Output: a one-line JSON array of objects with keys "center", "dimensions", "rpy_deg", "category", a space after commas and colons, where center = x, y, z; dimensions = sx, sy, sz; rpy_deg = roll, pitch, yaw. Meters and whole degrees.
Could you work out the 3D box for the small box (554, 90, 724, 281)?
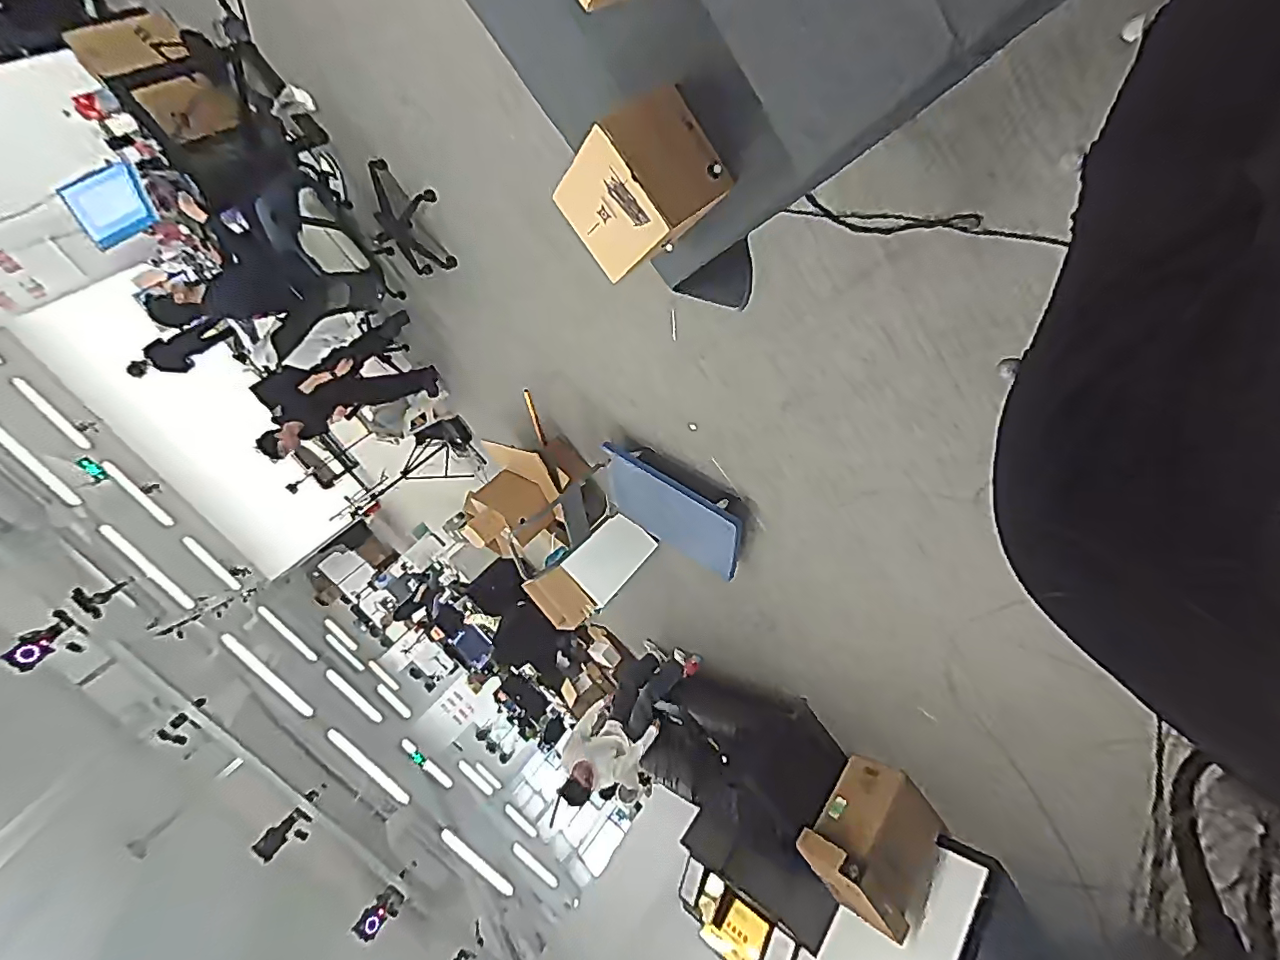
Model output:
[{"center": [0.005, -0.450, 0.833], "dimensions": [0.168, 0.176, 0.179], "rpy_deg": [52, 152, -13], "category": "small box"}]
